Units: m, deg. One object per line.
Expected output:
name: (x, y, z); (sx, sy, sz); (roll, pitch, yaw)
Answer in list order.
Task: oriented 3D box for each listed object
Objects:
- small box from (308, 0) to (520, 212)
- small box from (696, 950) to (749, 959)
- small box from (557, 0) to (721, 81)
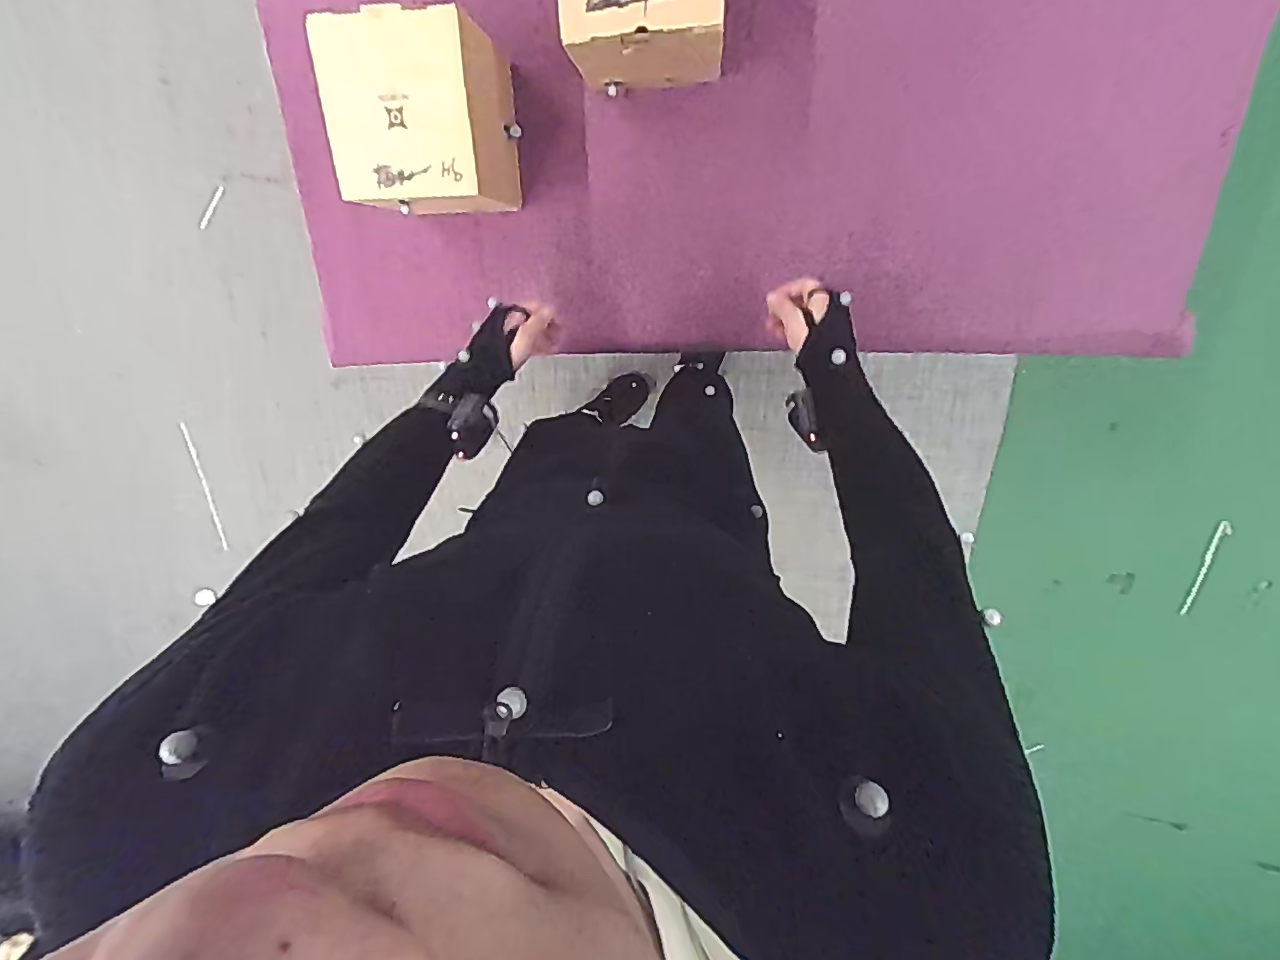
small box: (-0.254, -0.433, 0.654); (0.168, 0.176, 0.179); (2, 111, 7)
small box: (0.233, 1.463, 1.501); (0.168, 0.176, 0.179); (4, 112, 3)
small box: (0.005, -0.555, 0.581); (0.168, 0.176, 0.179); (0, 111, 6)
